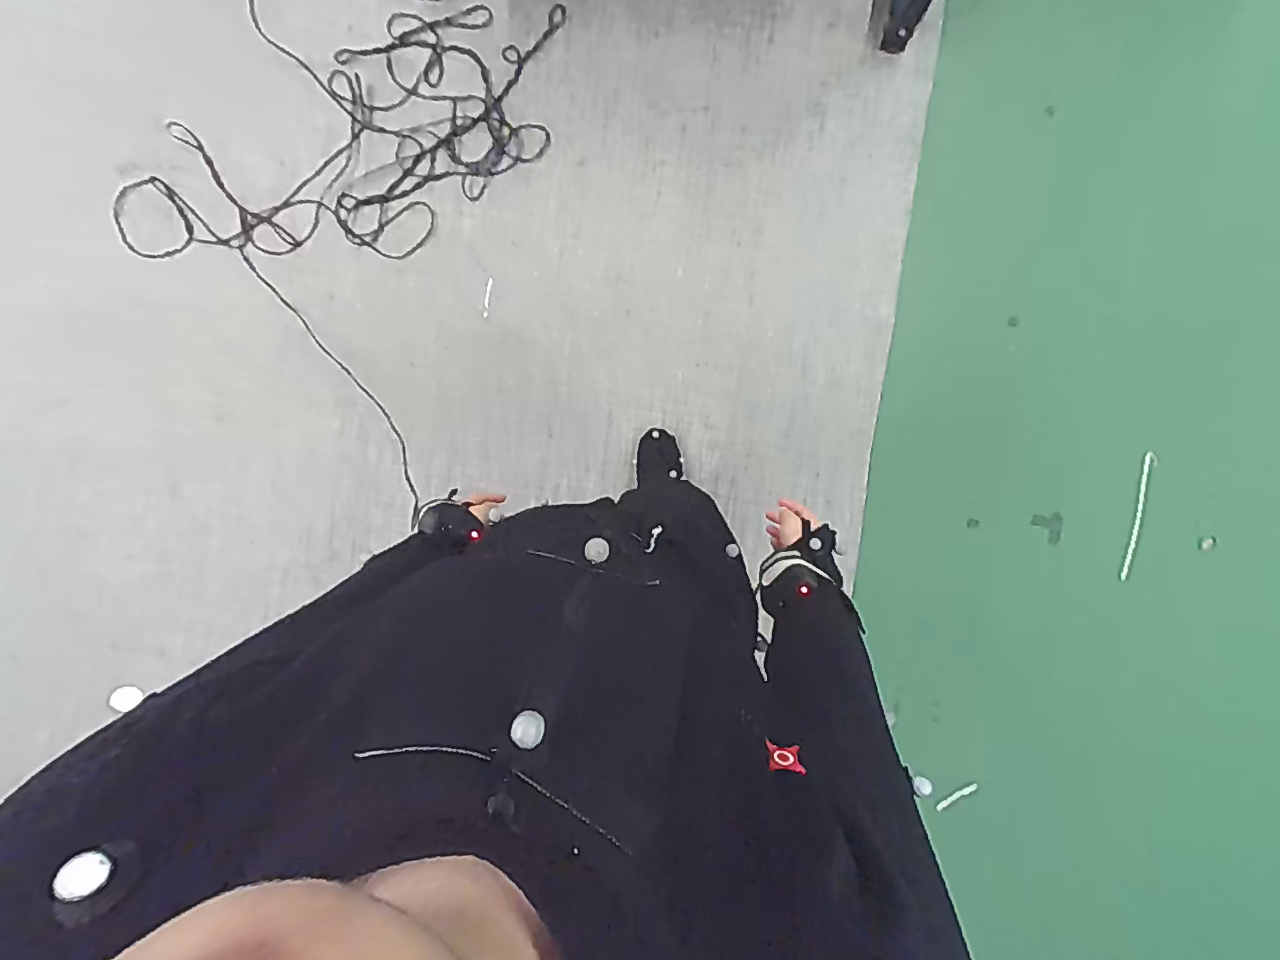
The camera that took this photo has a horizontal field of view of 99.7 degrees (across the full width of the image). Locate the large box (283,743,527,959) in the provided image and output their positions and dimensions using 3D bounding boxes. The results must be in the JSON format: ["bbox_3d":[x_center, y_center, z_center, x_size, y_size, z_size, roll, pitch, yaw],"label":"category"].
[{"bbox_3d":[-0.521,0.884,1.272,0.408,0.320,0.320,14,93,2],"label":"large box"}]
